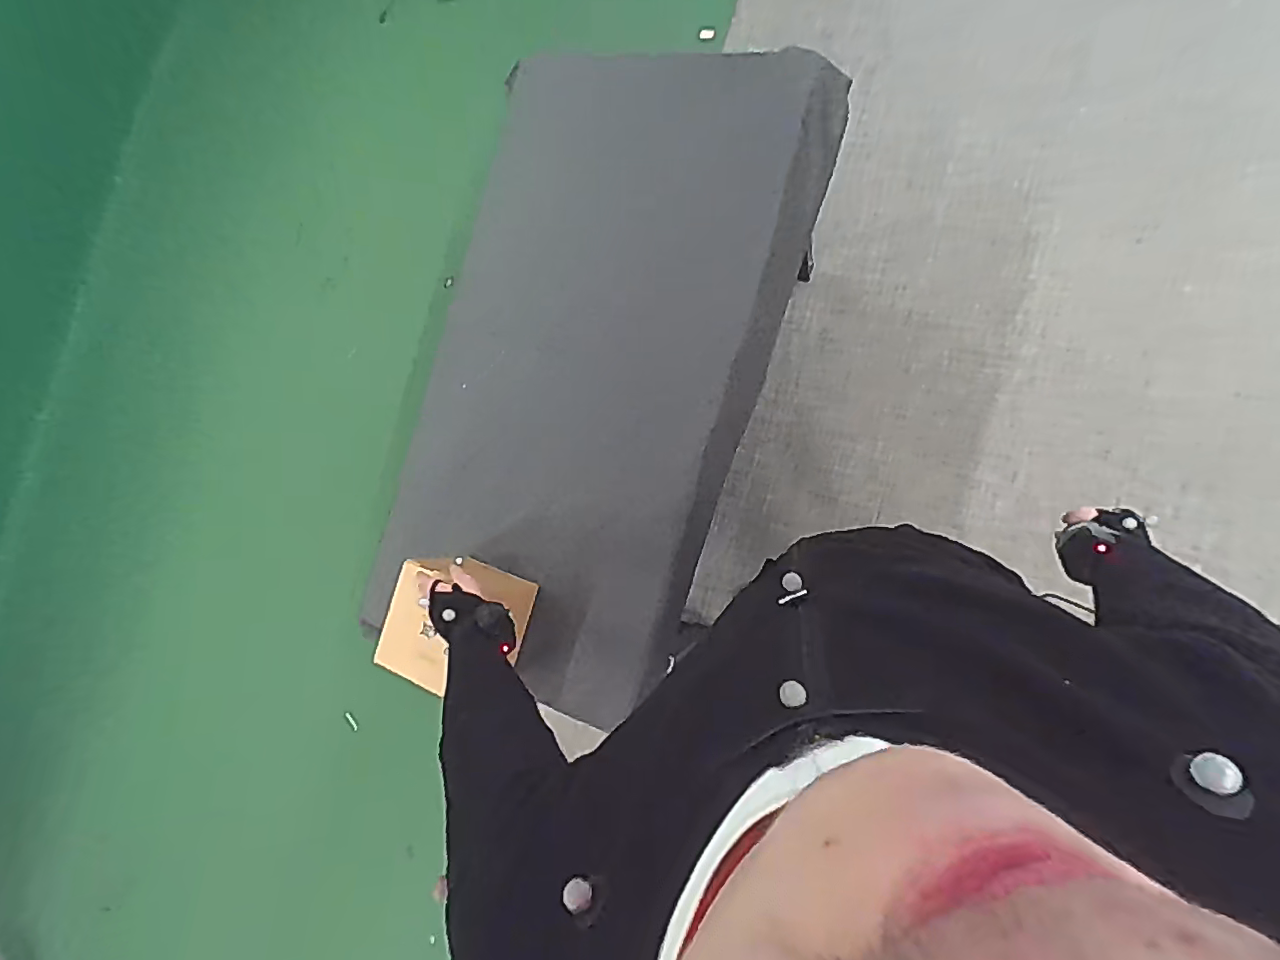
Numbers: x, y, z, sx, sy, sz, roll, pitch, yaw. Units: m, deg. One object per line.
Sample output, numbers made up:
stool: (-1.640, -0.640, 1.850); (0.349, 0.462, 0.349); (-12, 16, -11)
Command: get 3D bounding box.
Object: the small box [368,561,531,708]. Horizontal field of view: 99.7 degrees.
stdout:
small box: (-0.308, 0.246, 0.908); (0.168, 0.176, 0.179); (18, 88, 22)
